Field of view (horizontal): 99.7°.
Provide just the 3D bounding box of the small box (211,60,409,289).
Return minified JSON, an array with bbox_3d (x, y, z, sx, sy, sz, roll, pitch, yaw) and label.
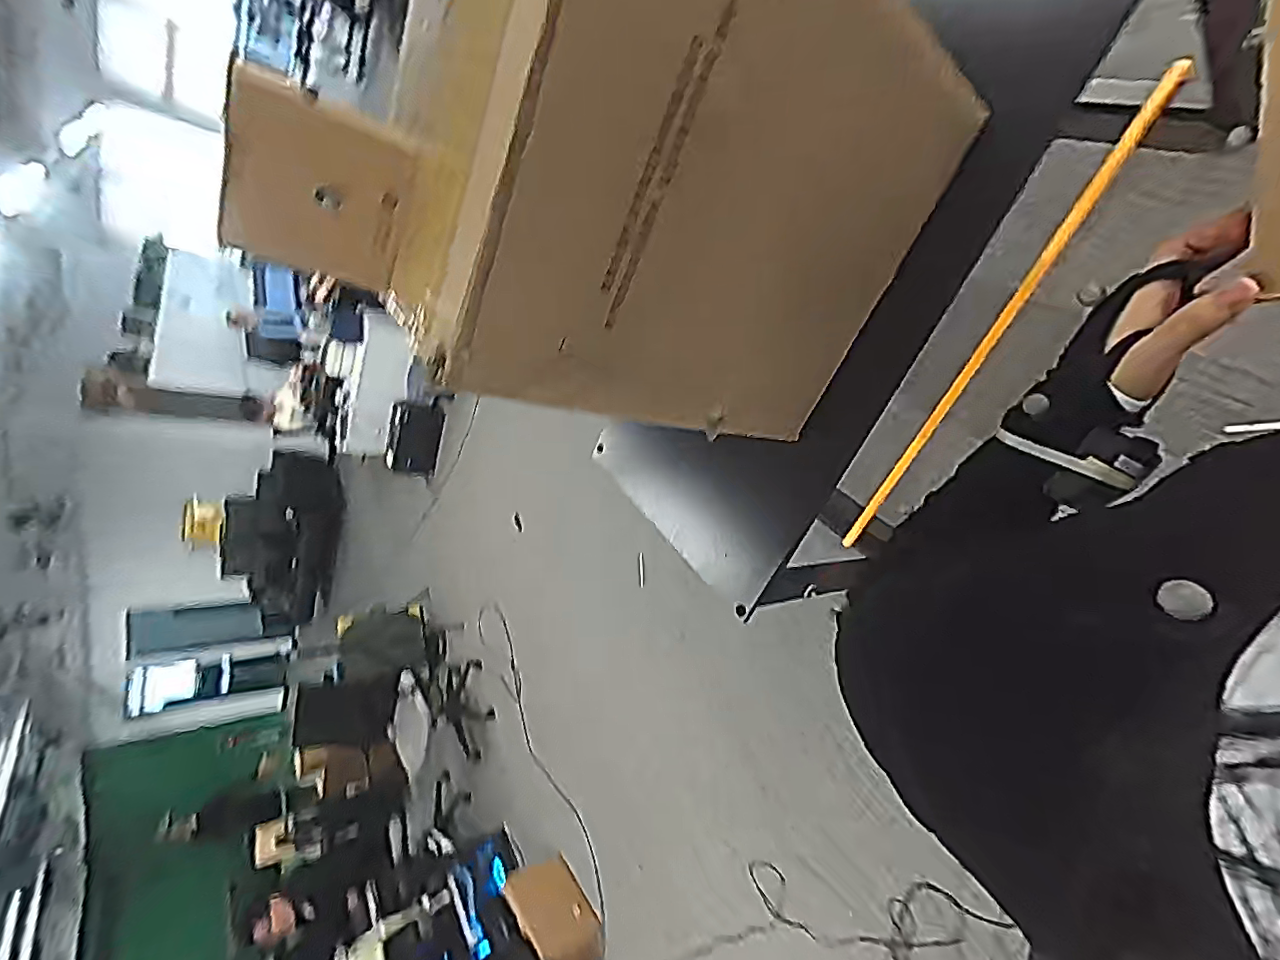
[{"bbox_3d":[-0.378,-0.337,0.618,0.179,0.176,0.168,49,123,41],"label":"small box"}]
